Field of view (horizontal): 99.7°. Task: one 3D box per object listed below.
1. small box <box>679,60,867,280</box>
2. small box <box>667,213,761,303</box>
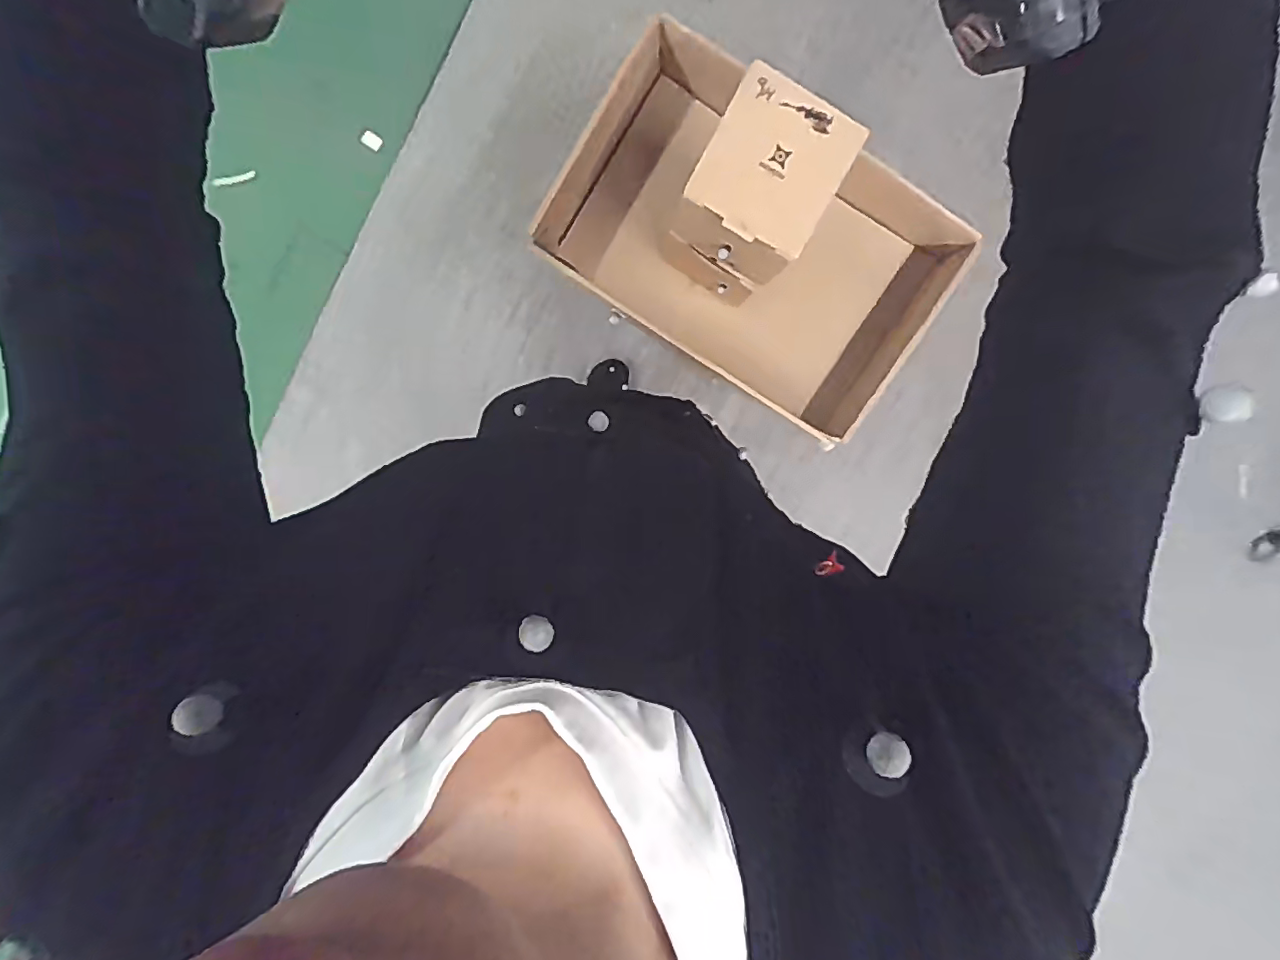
[{"bbox_3d":[0.163,-0.397,0.734,0.168,0.176,0.179,29,99,-6],"label":"small box"},{"bbox_3d":[0.156,-0.419,0.897,0.168,0.176,0.179,32,96,-6],"label":"small box"}]
